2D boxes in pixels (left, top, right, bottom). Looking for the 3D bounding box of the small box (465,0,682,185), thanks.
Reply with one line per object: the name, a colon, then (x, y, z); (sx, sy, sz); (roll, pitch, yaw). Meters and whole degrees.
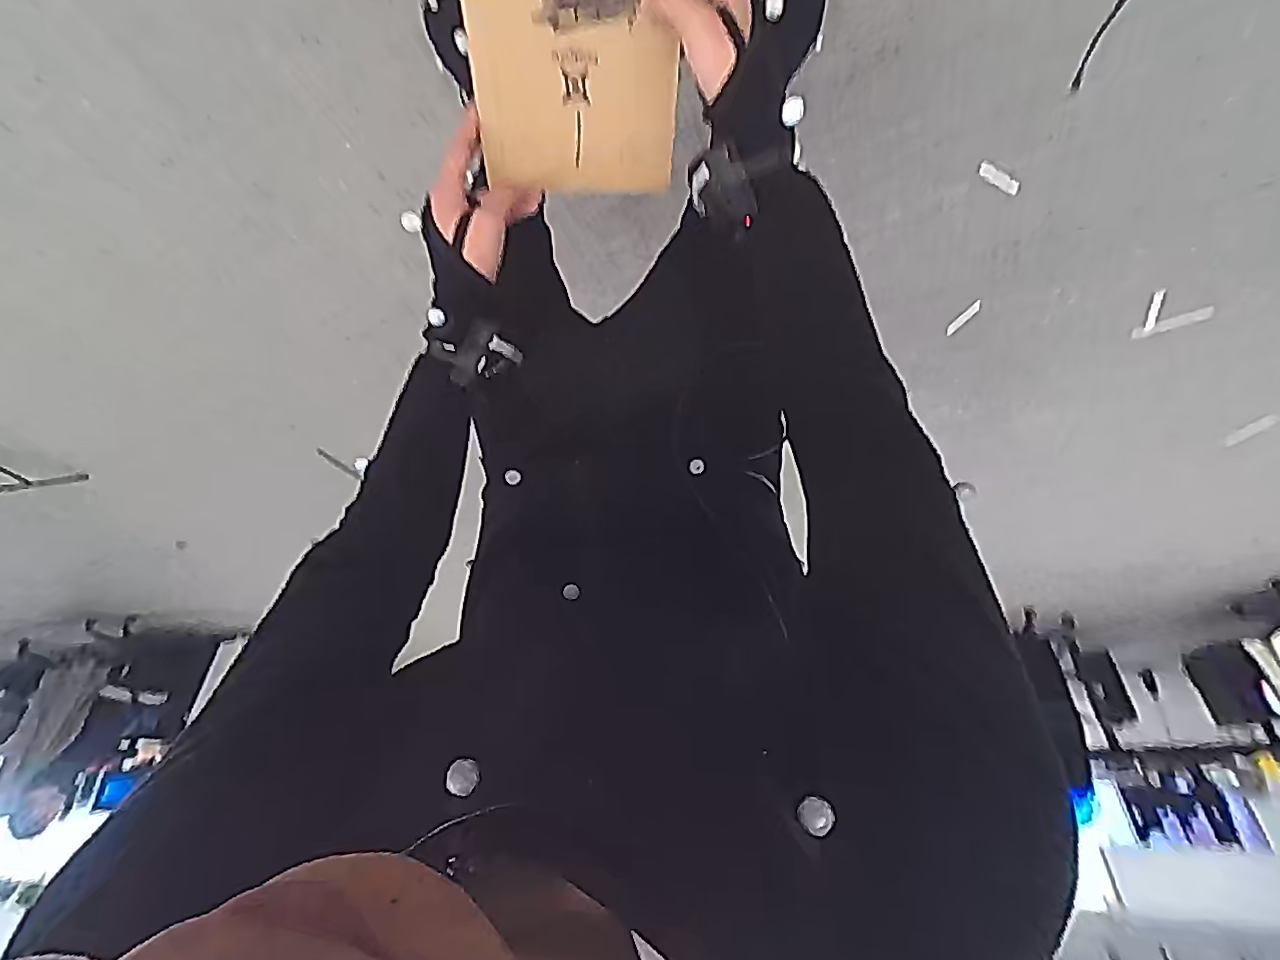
small box: (-0.060, -0.385, 0.486); (0.168, 0.176, 0.179); (-3, 135, -6)
